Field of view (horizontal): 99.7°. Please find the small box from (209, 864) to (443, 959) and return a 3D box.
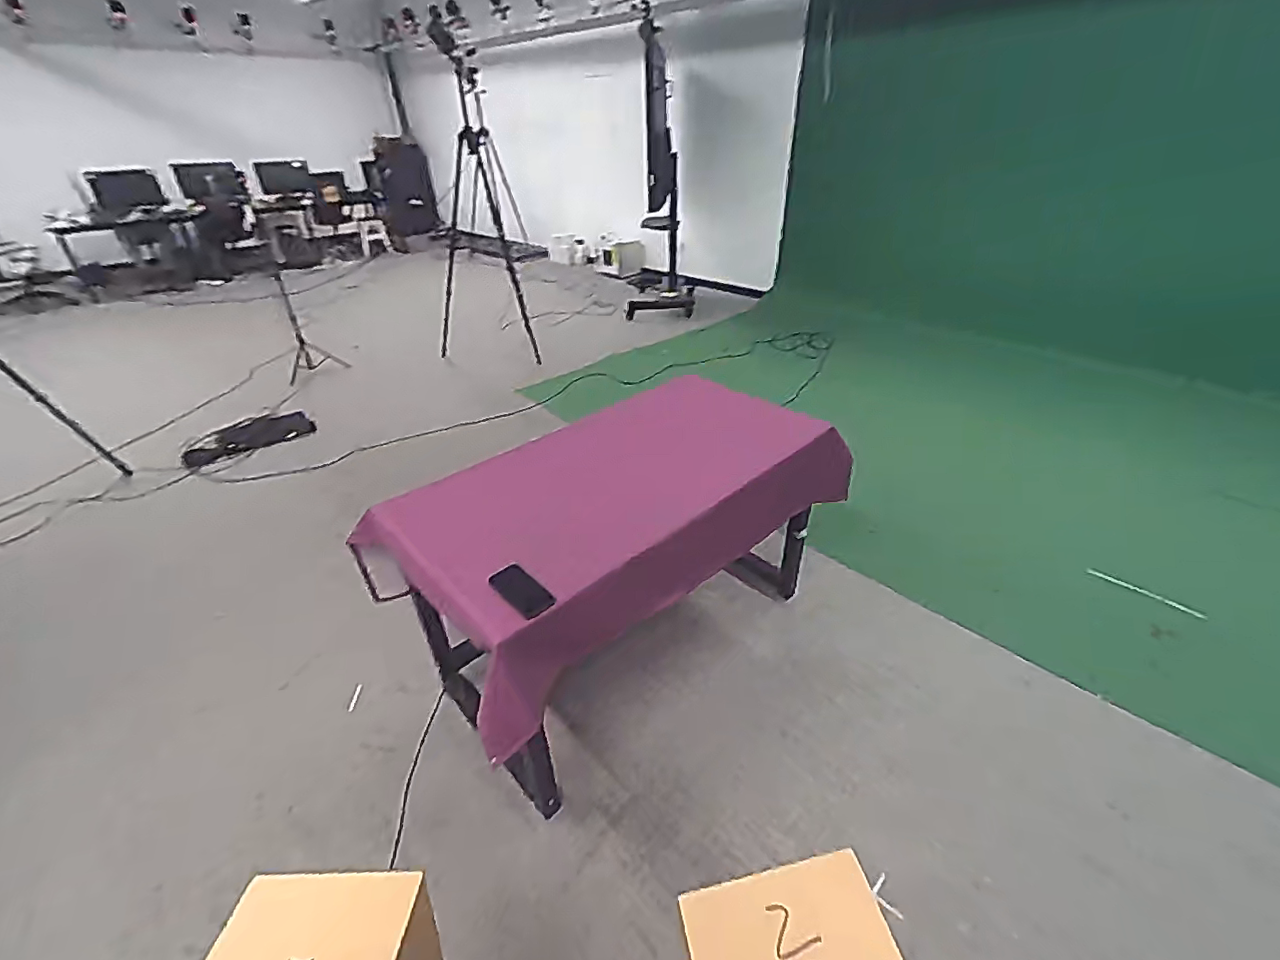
[{"bbox_3d":[-0.287,0.488,0.485,0.168,0.176,0.179,1,23,-1],"label":"small box"}]
